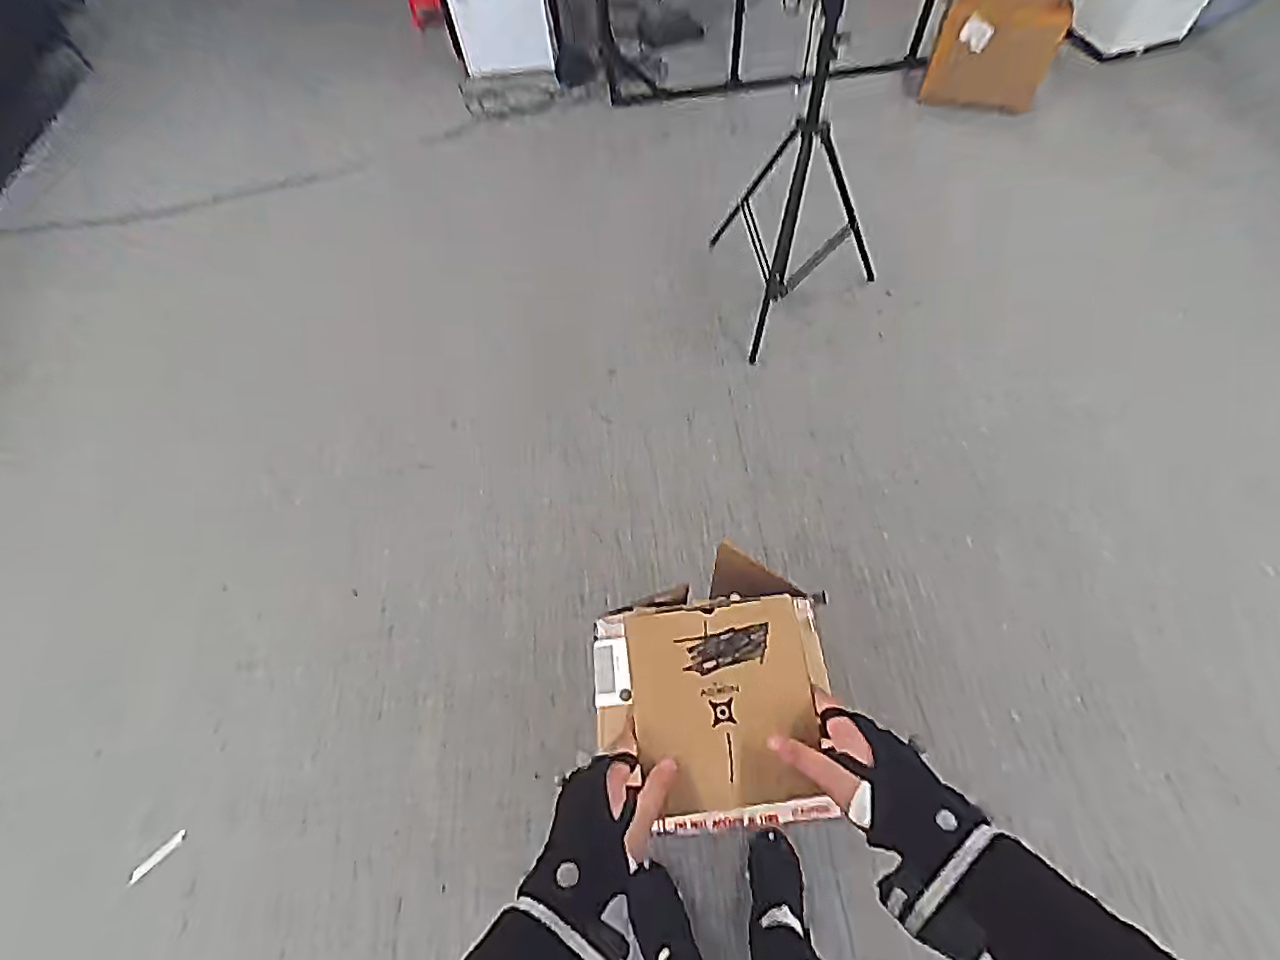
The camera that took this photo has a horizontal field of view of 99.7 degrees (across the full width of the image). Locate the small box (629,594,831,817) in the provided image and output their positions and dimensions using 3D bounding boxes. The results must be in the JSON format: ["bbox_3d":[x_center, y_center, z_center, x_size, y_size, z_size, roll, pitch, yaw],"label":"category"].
[{"bbox_3d":[0.077,0.221,0.567,0.168,0.176,0.179,-6,75,-1],"label":"small box"}]
